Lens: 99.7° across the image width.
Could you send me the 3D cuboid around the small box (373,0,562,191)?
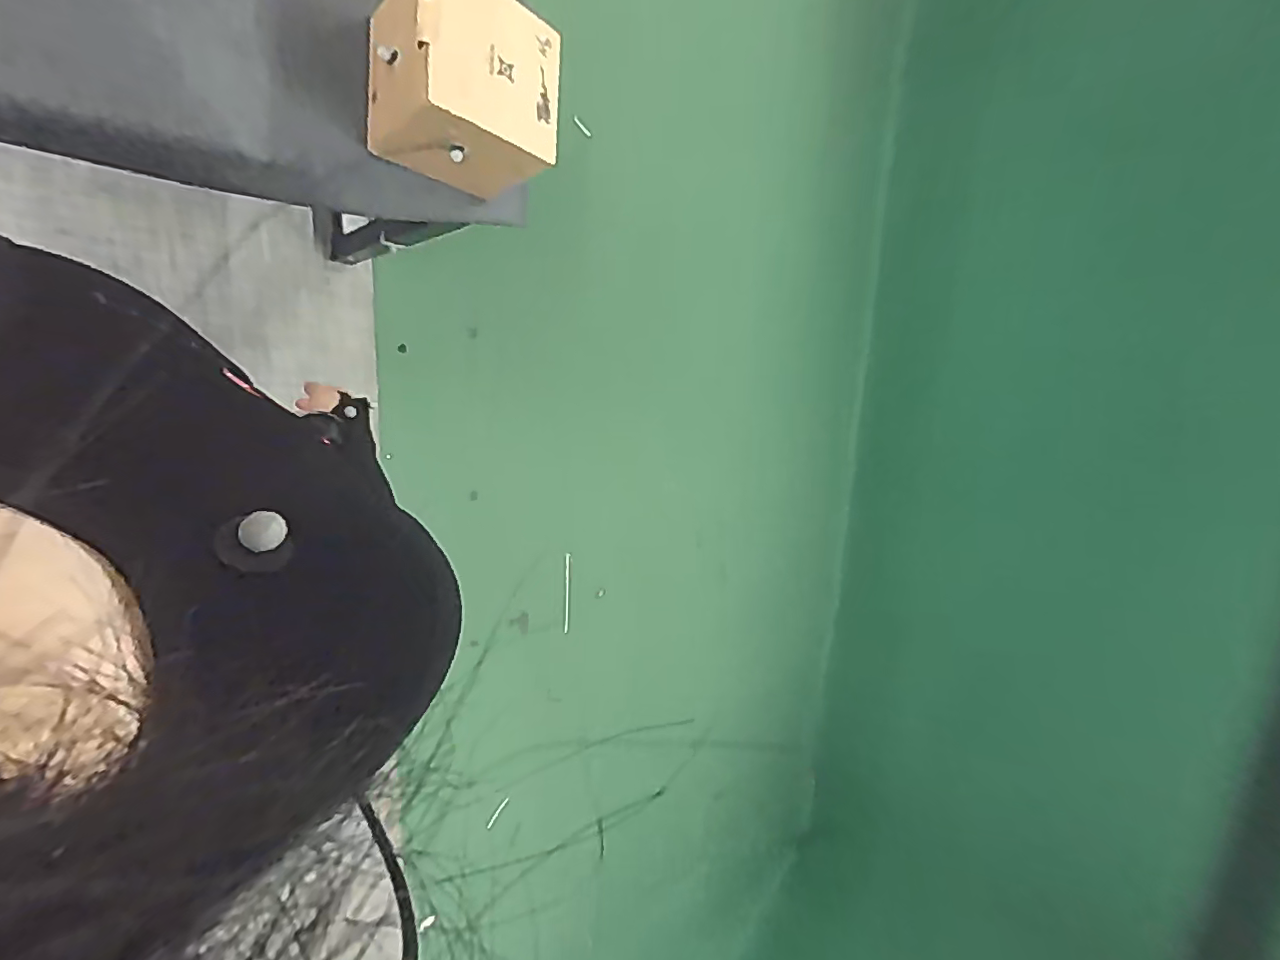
[{"bbox_3d":[-0.221,-0.494,0.684,0.179,0.176,0.168,-1,96,-45],"label":"small box"}]
